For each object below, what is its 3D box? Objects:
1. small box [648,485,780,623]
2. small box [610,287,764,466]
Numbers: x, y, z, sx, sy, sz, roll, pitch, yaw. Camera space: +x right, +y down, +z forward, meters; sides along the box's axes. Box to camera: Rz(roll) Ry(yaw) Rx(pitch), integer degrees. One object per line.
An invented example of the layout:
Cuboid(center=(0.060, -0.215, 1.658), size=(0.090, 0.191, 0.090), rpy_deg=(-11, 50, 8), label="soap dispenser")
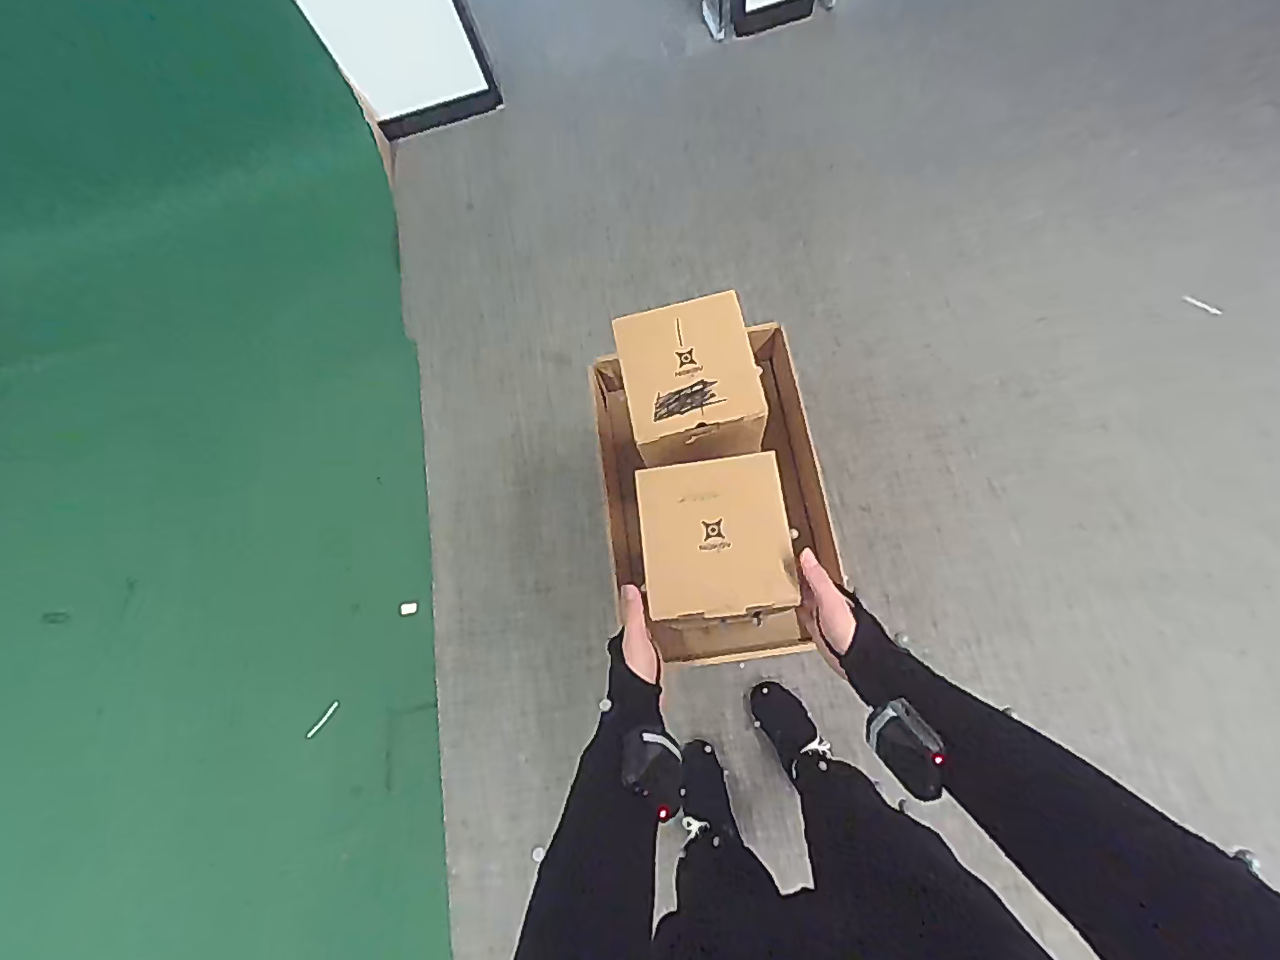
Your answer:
Cuboid(center=(0.113, 0.121, 0.829), size=(0.168, 0.176, 0.179), rpy_deg=(-9, 73, 6), label="small box")
Cuboid(center=(0.067, -0.127, 0.741), size=(0.168, 0.176, 0.179), rpy_deg=(-13, 75, 5), label="small box")
